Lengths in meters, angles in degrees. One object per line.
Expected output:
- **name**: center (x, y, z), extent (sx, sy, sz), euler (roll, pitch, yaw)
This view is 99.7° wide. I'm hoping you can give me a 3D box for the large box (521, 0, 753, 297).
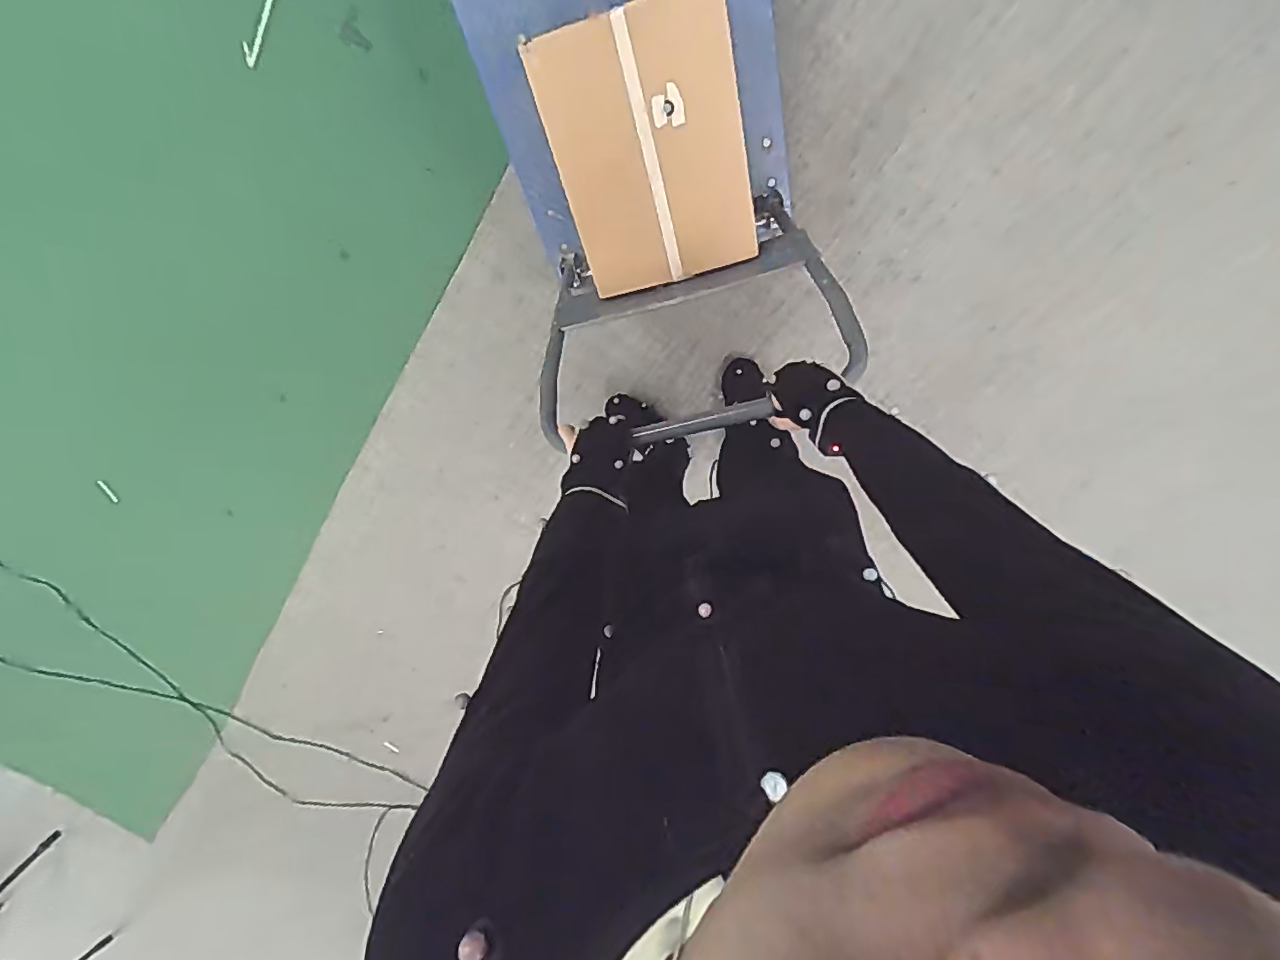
- **large box**: center (0.018, -0.632, 1.047), extent (0.320, 0.320, 0.408), euler (-11, 127, 10)
